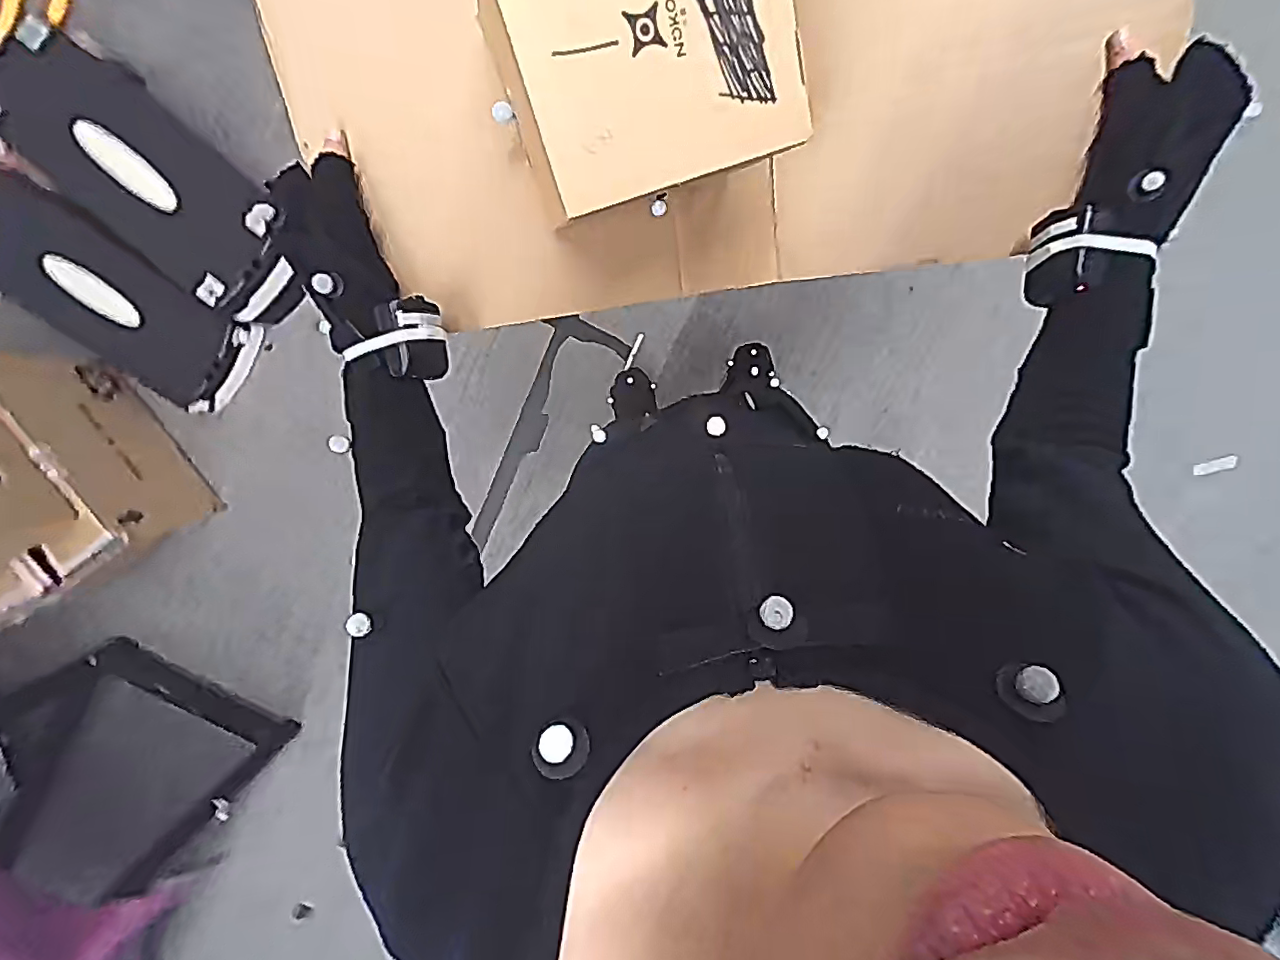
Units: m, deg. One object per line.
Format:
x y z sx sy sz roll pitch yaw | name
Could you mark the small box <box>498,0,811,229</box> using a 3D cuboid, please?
0.000 -0.299 0.404 0.179 0.176 0.168 -19 114 -4 | small box
